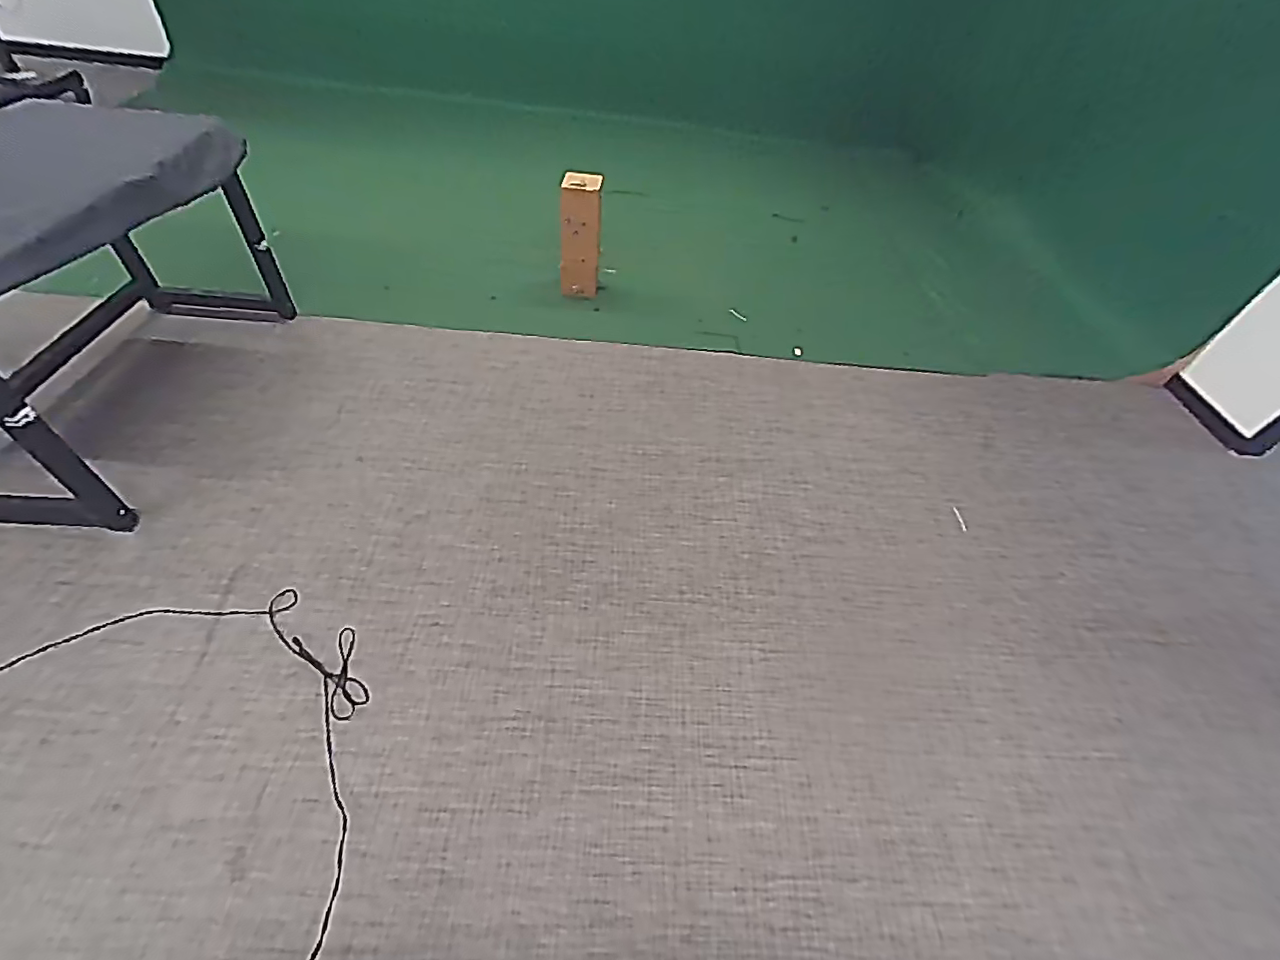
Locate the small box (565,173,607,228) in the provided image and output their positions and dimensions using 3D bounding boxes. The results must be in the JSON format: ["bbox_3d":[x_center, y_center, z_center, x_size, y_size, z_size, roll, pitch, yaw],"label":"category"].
[{"bbox_3d":[-0.241,-1.258,2.438,0.168,0.176,0.179,6,47,-1],"label":"small box"}]

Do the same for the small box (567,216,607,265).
[{"bbox_3d":[-0.252,-1.144,2.557,0.168,0.176,0.179,6,48,-1],"label":"small box"}]

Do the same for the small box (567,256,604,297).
[{"bbox_3d":[-0.270,-1.033,2.676,0.168,0.176,0.179,5,50,-1],"label":"small box"}]
